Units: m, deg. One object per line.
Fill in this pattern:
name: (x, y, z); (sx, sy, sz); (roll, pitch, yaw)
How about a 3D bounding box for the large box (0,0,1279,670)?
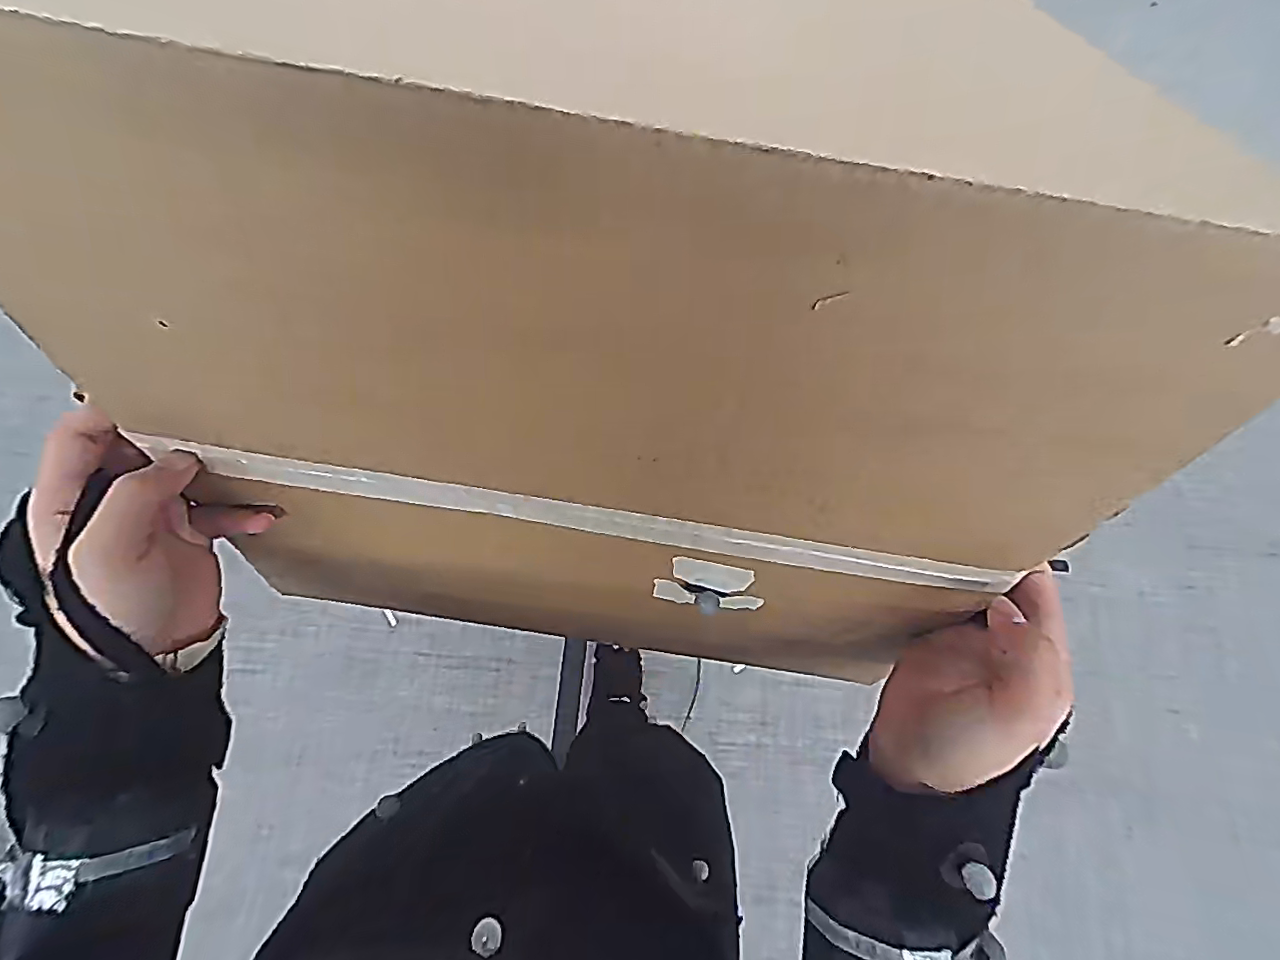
large box: (-0.009, -0.104, 0.348); (0.408, 0.320, 0.320); (8, 53, -1)
